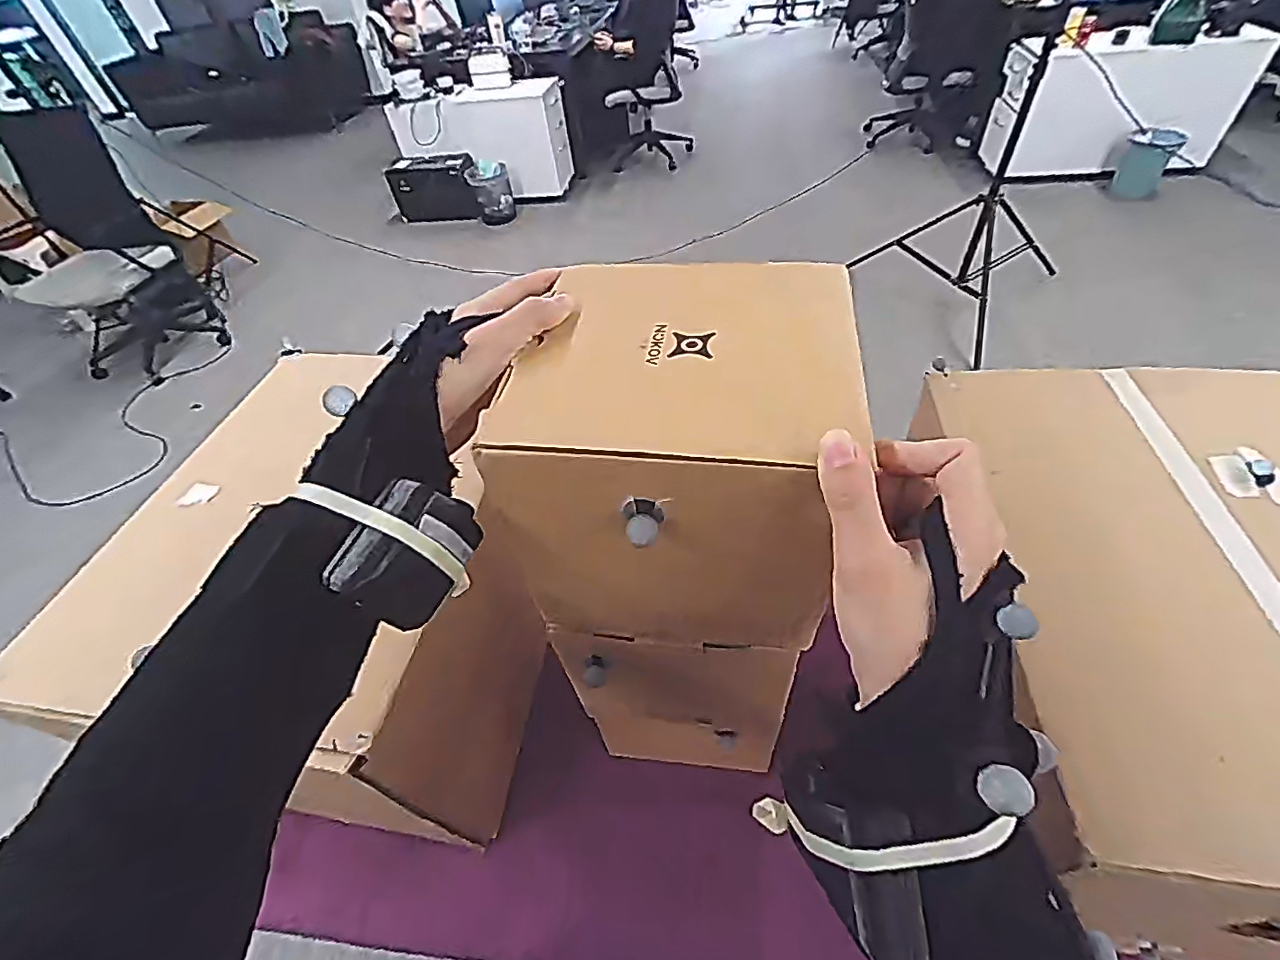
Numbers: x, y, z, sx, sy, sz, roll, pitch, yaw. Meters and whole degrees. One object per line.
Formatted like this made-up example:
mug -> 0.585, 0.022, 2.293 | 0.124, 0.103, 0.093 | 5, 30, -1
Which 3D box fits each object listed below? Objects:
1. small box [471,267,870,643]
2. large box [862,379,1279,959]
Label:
small box -> 0.028, -0.013, 0.340 | 0.179, 0.176, 0.168 | 3, 49, 11
large box -> 0.410, 0.157, 0.483 | 0.320, 0.320, 0.408 | 2, 47, 10
